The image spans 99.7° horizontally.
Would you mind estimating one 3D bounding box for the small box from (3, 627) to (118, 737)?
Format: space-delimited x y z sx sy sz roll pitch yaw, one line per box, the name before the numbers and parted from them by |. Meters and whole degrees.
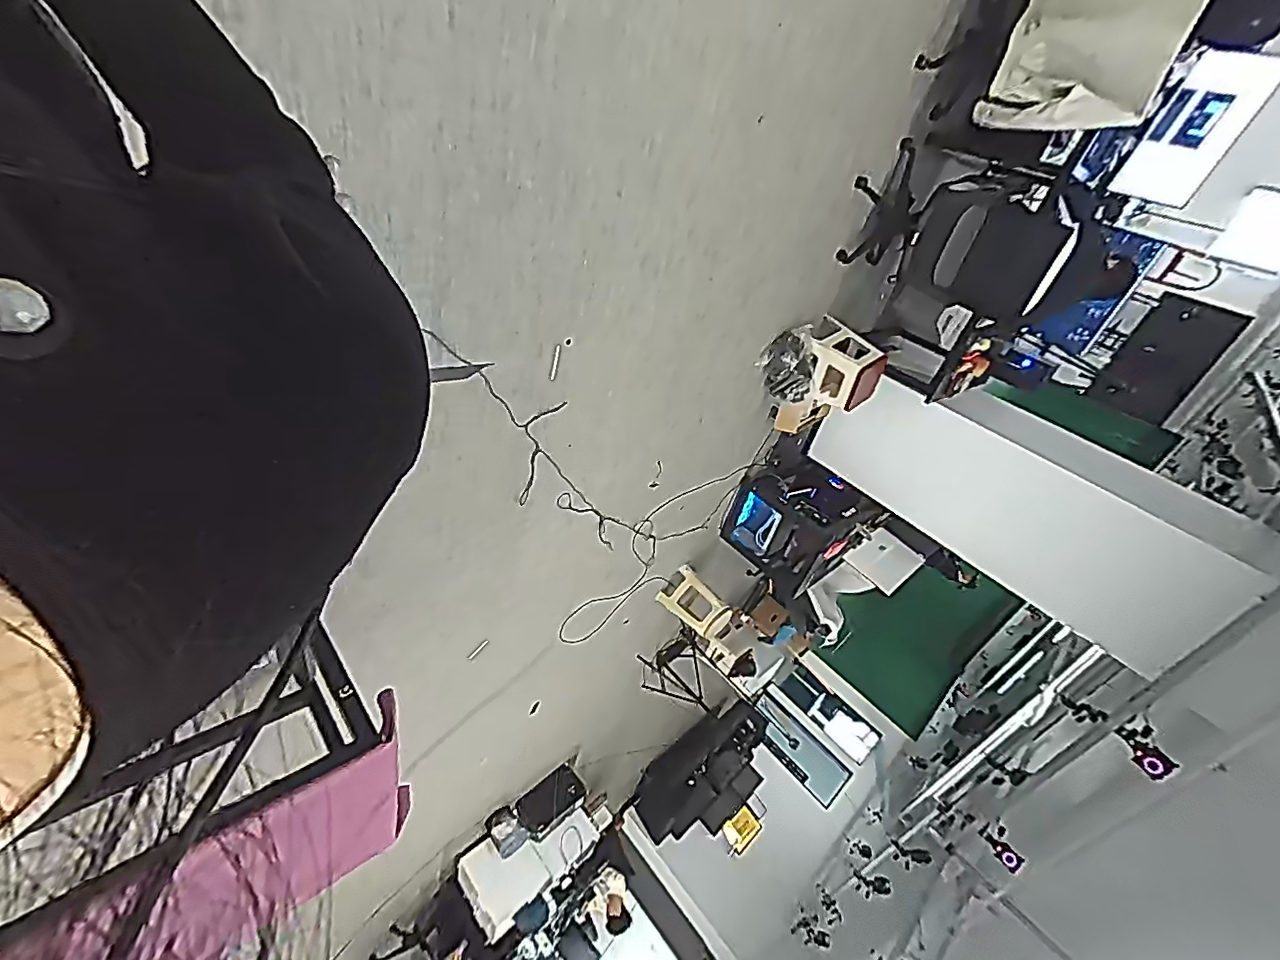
small box | -1.470 0.500 1.374 0.168 0.176 0.179 -16 137 -43
